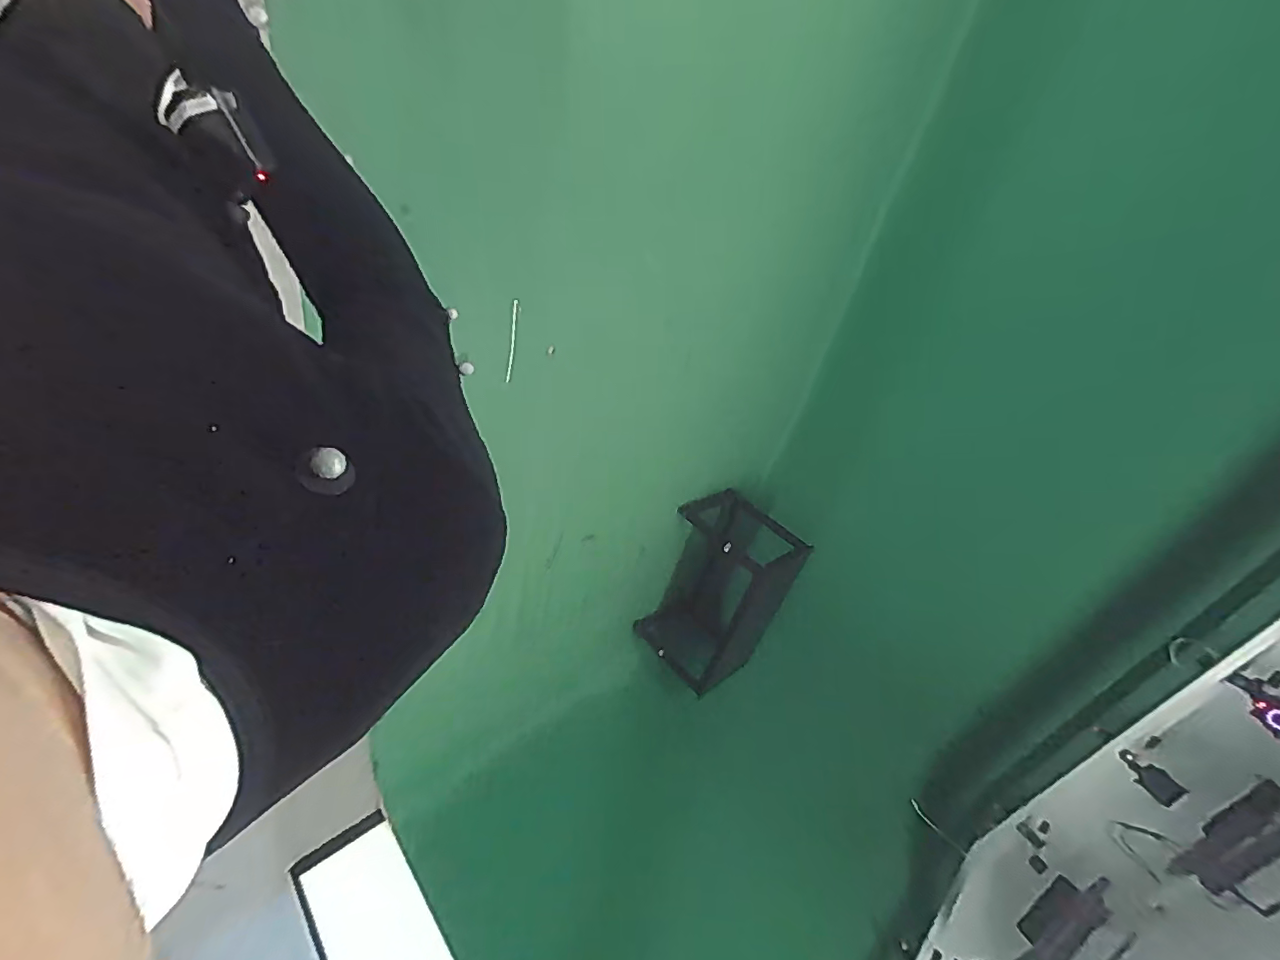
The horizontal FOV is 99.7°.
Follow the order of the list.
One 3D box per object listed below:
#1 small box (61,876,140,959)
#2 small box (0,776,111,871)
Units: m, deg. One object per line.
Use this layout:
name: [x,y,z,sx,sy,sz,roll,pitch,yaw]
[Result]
small box: [-1.339,1.110,1.303,0.168,0.176,0.179,-16,132,-41]
small box: [-1.380,0.833,1.265,0.168,0.176,0.179,-15,136,-42]
